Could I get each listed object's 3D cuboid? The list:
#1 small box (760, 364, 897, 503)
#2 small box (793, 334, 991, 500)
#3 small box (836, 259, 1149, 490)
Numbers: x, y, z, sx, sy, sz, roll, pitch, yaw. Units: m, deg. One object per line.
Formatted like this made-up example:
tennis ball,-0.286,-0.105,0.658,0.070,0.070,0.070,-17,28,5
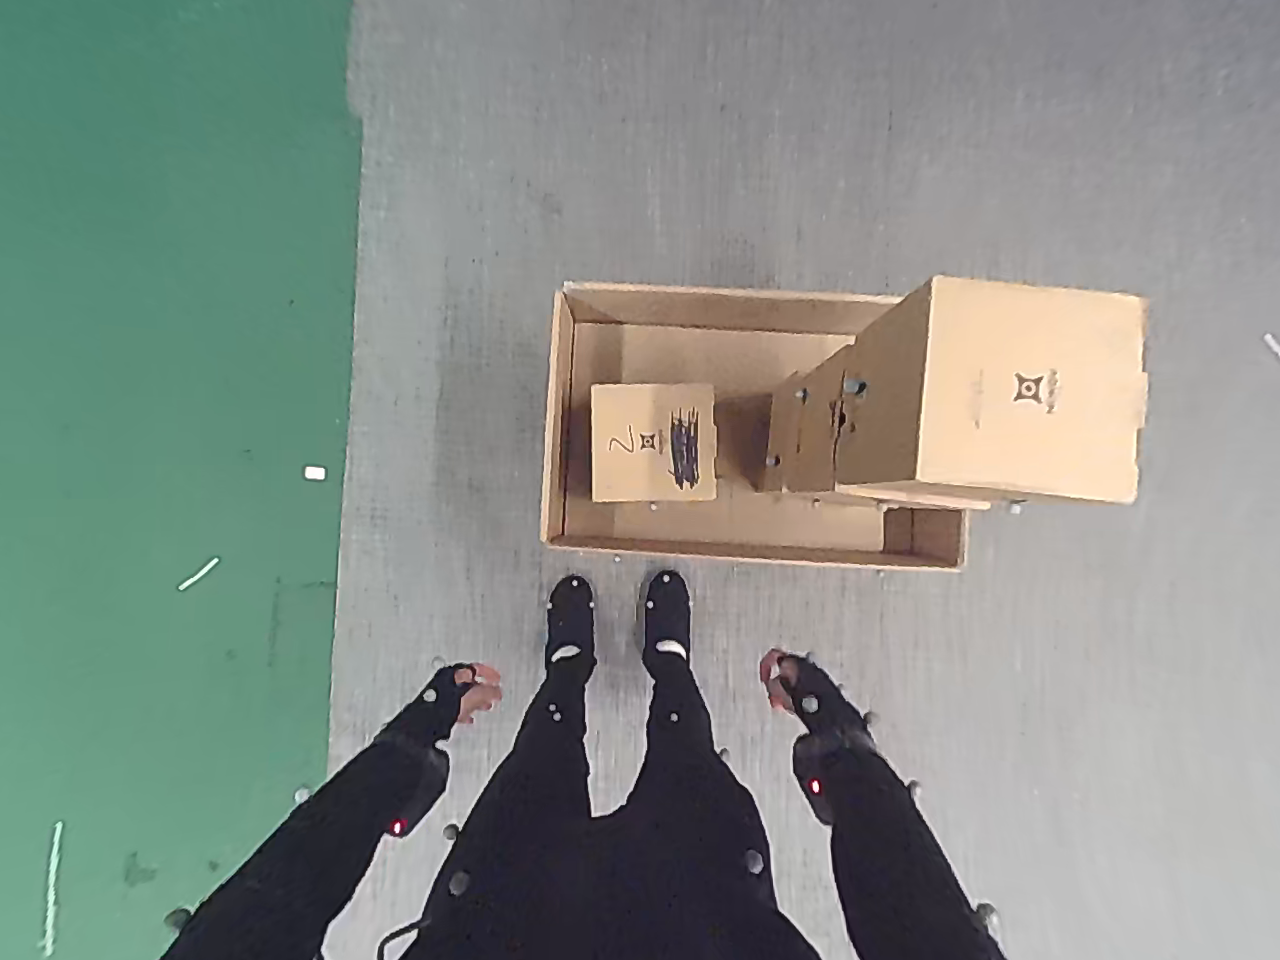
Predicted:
small box,0.287,-0.062,0.826,0.168,0.176,0.179,7,88,1
small box,0.298,-0.066,0.662,0.179,0.176,0.168,6,88,0
small box,0.303,-0.080,0.499,0.179,0.176,0.168,6,87,1
